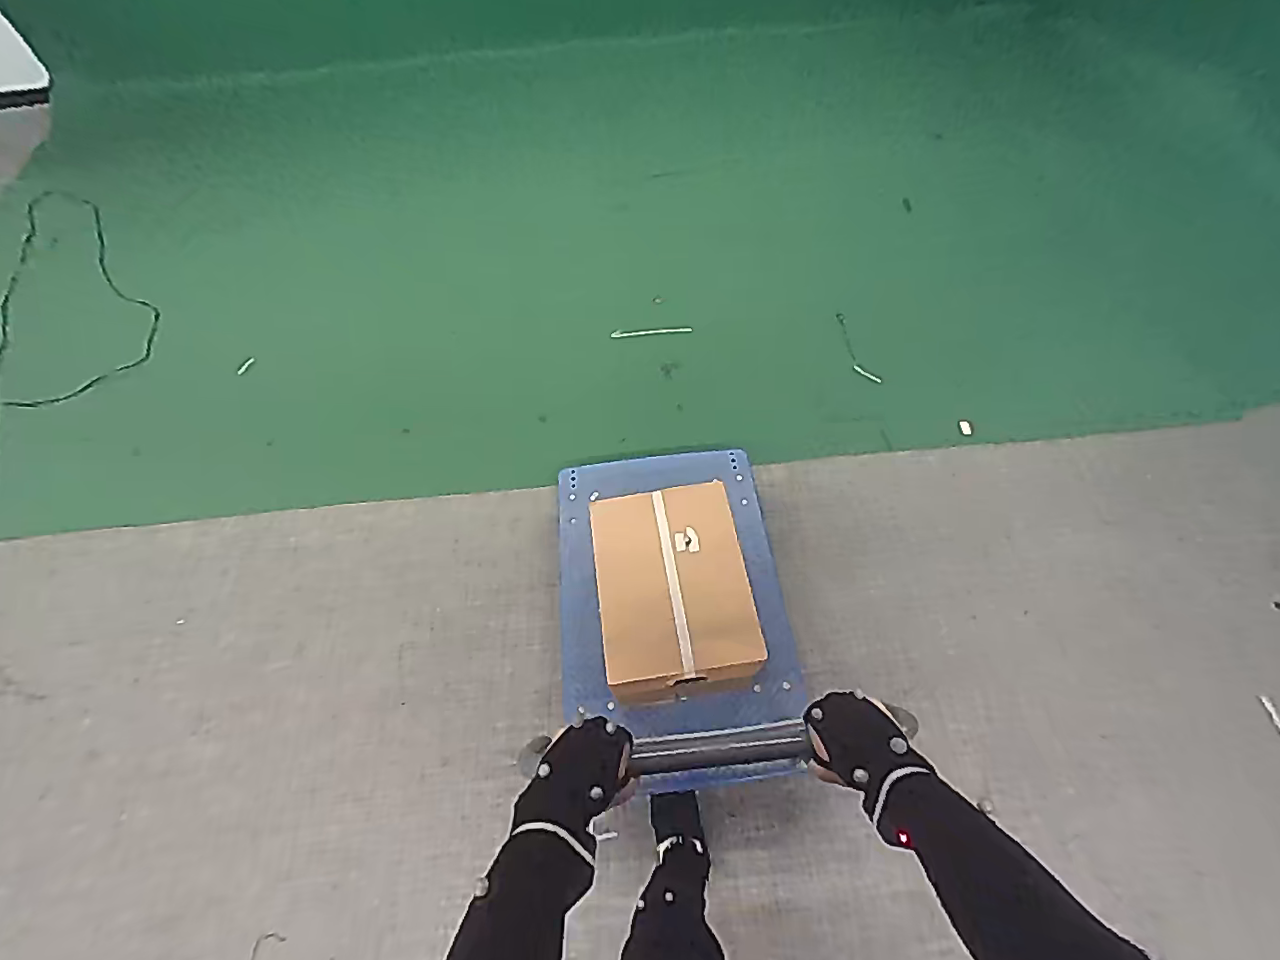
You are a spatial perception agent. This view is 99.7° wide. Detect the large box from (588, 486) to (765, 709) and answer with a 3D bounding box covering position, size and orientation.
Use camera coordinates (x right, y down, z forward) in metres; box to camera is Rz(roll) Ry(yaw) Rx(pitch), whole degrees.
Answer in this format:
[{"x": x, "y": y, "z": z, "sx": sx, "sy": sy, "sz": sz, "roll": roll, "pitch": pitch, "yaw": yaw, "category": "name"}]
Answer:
[{"x": 0.073, "y": 0.282, "z": 1.267, "sx": 0.320, "sy": 0.320, "sz": 0.408, "roll": -9, "pitch": 59, "yaw": -2, "category": "large box"}]
